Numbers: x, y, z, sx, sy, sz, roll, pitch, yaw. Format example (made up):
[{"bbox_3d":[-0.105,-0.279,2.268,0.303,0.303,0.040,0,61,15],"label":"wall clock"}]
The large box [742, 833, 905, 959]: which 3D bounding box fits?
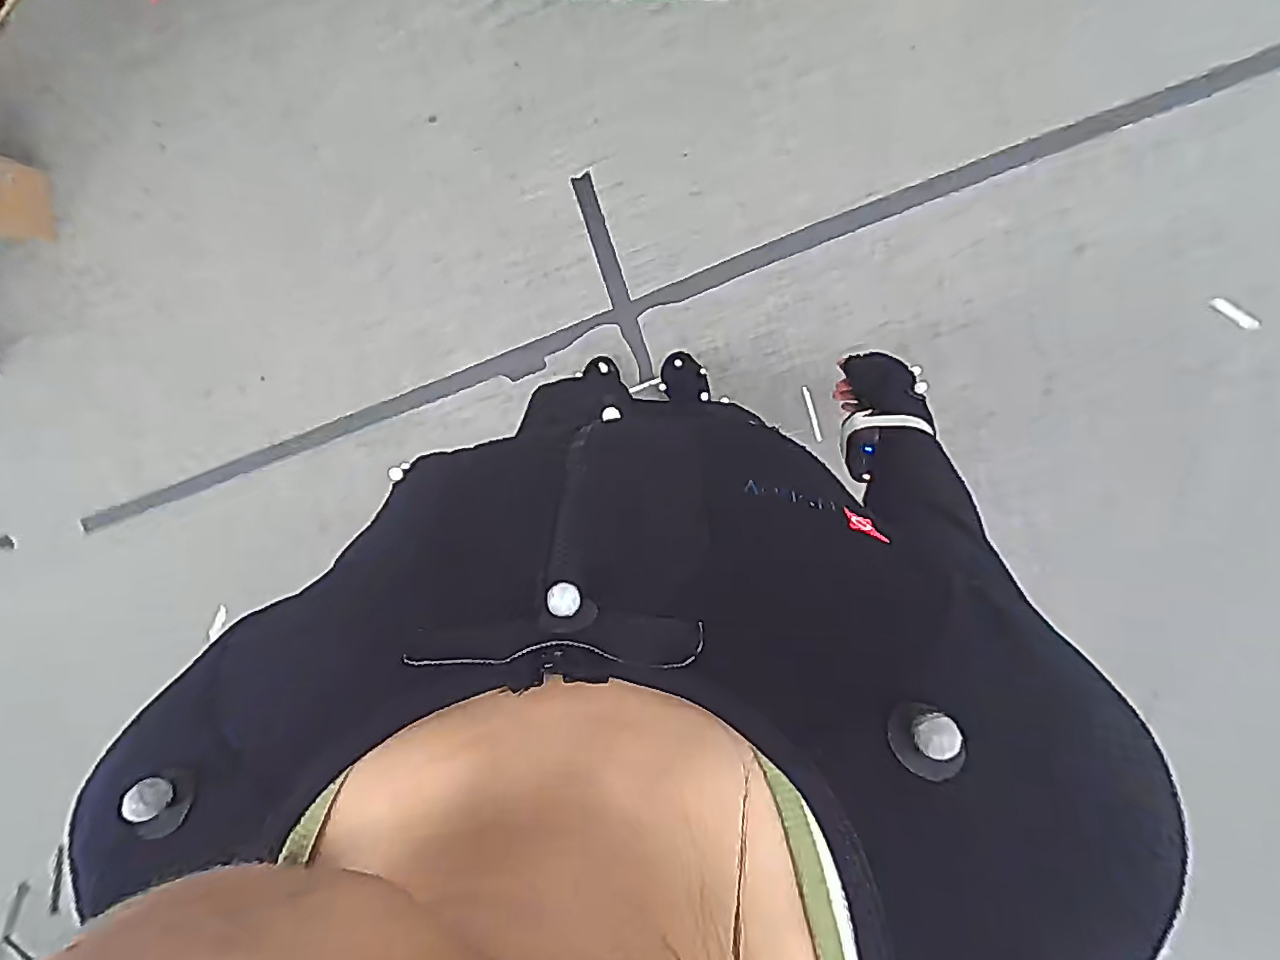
[{"bbox_3d":[0.553,1.356,1.658,0.408,0.320,0.320,-11,102,5],"label":"large box"}]
